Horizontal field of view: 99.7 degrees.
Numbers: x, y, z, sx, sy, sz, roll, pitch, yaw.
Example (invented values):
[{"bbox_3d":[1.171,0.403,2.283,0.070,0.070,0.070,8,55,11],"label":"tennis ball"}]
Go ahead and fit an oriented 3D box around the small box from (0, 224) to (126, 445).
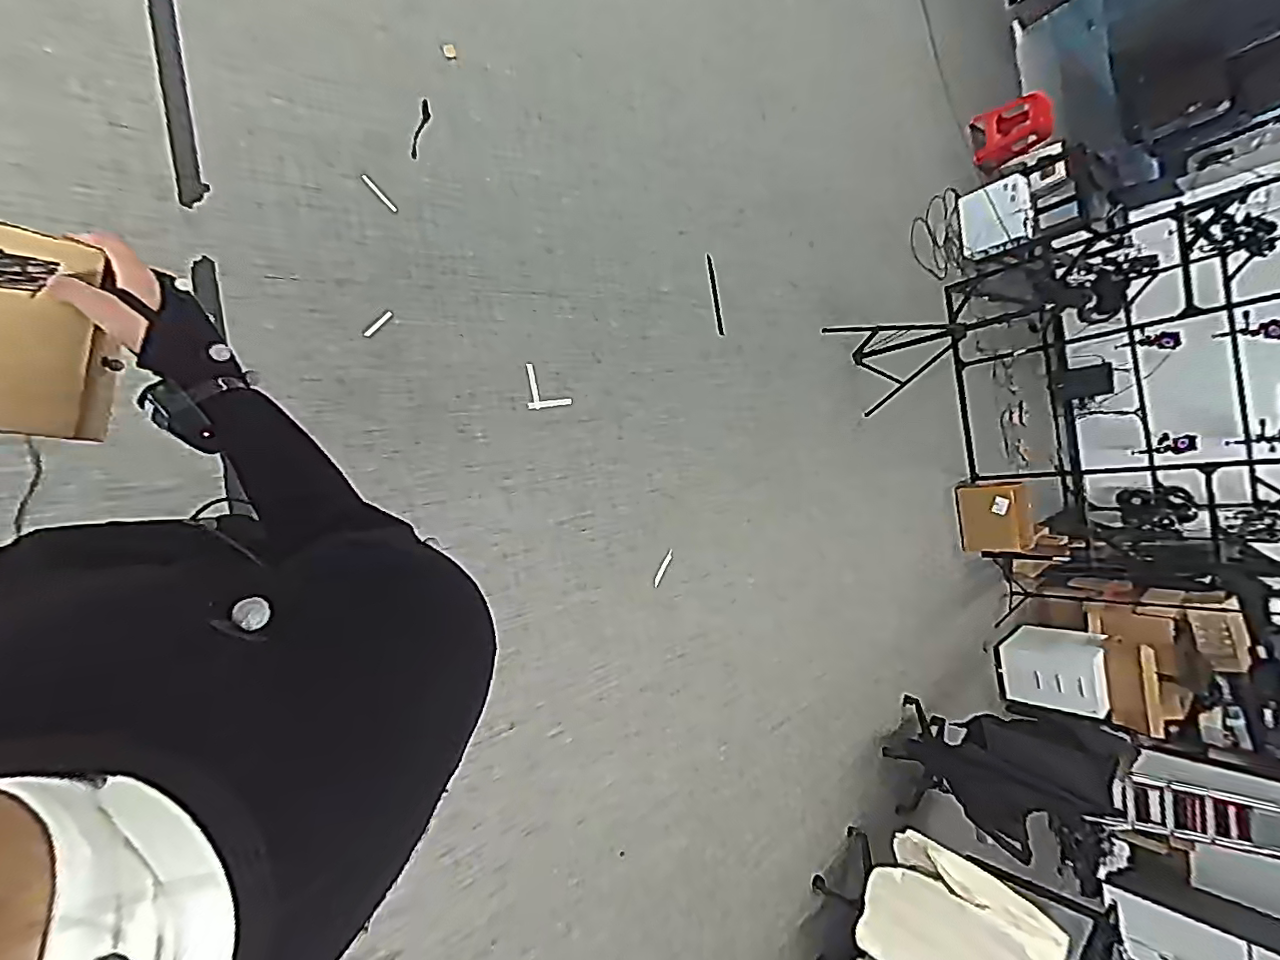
[{"bbox_3d":[-0.603,-0.131,0.497,0.168,0.176,0.179,8,87,-38],"label":"small box"}]
